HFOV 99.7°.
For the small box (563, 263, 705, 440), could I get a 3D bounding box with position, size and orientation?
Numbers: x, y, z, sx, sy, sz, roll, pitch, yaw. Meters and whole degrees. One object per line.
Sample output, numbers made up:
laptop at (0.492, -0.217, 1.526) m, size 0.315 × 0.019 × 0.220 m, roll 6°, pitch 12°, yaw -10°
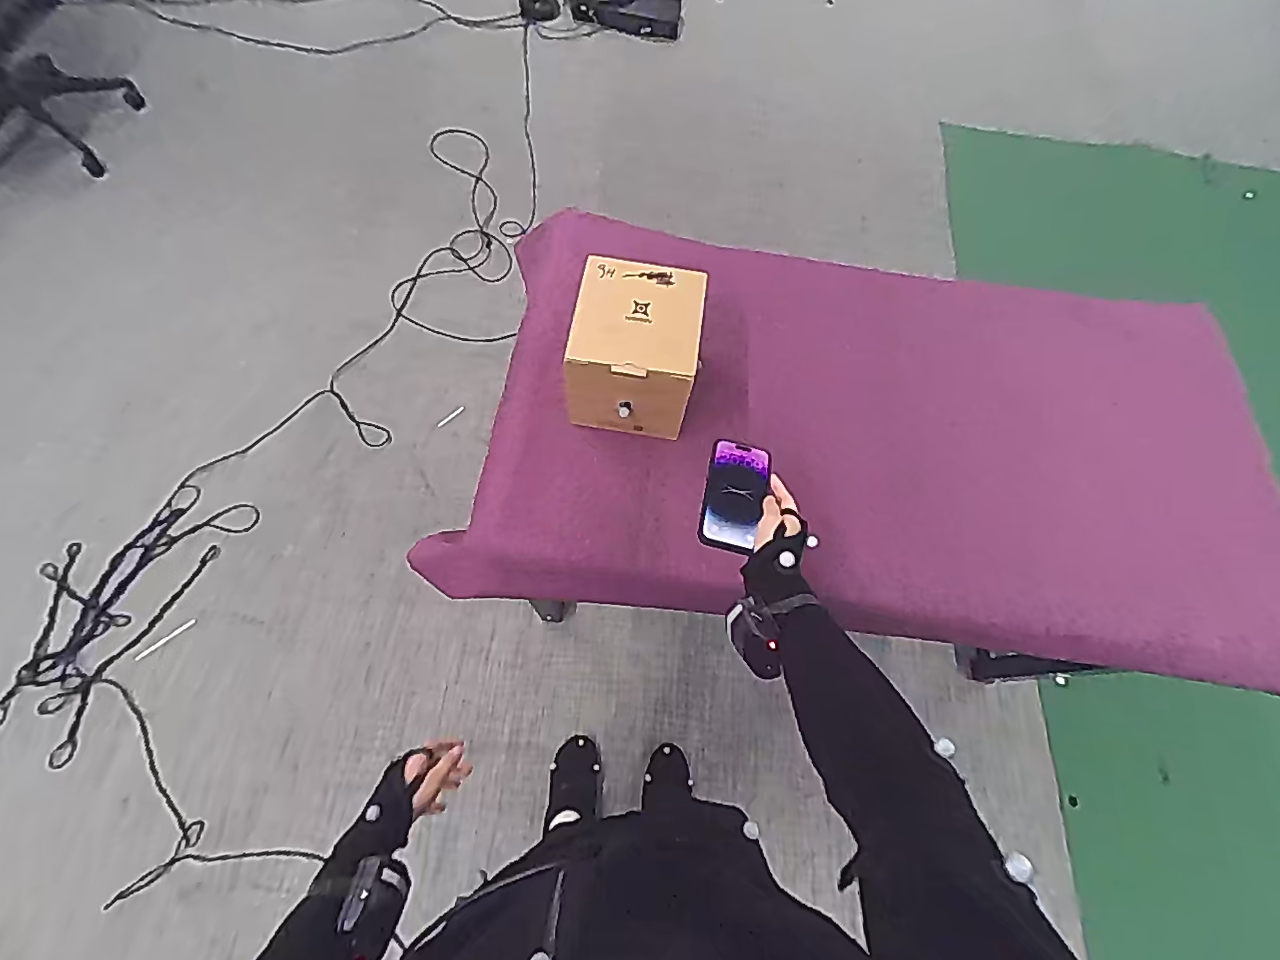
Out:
small box at (-0.007, -0.175, 0.777) m, size 0.168 × 0.176 × 0.179 m, roll 9°, pitch 67°, yaw 0°
